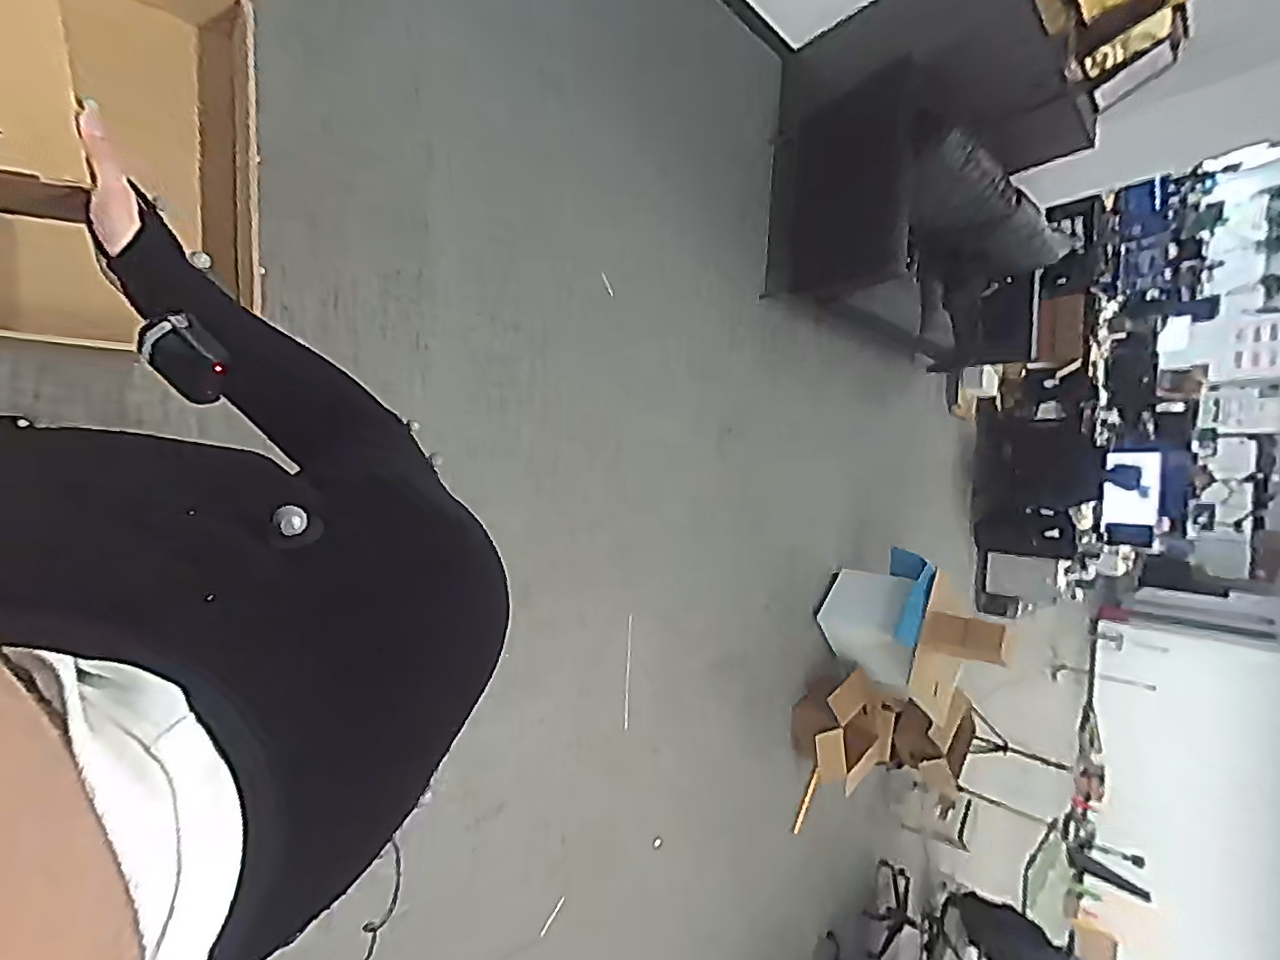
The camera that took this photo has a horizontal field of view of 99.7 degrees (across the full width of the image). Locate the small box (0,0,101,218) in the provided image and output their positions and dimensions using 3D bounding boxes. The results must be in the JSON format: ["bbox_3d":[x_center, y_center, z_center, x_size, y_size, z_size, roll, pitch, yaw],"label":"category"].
[{"bbox_3d":[-0.551,-0.320,0.421,0.168,0.176,0.179,-13,107,-43],"label":"small box"}]
